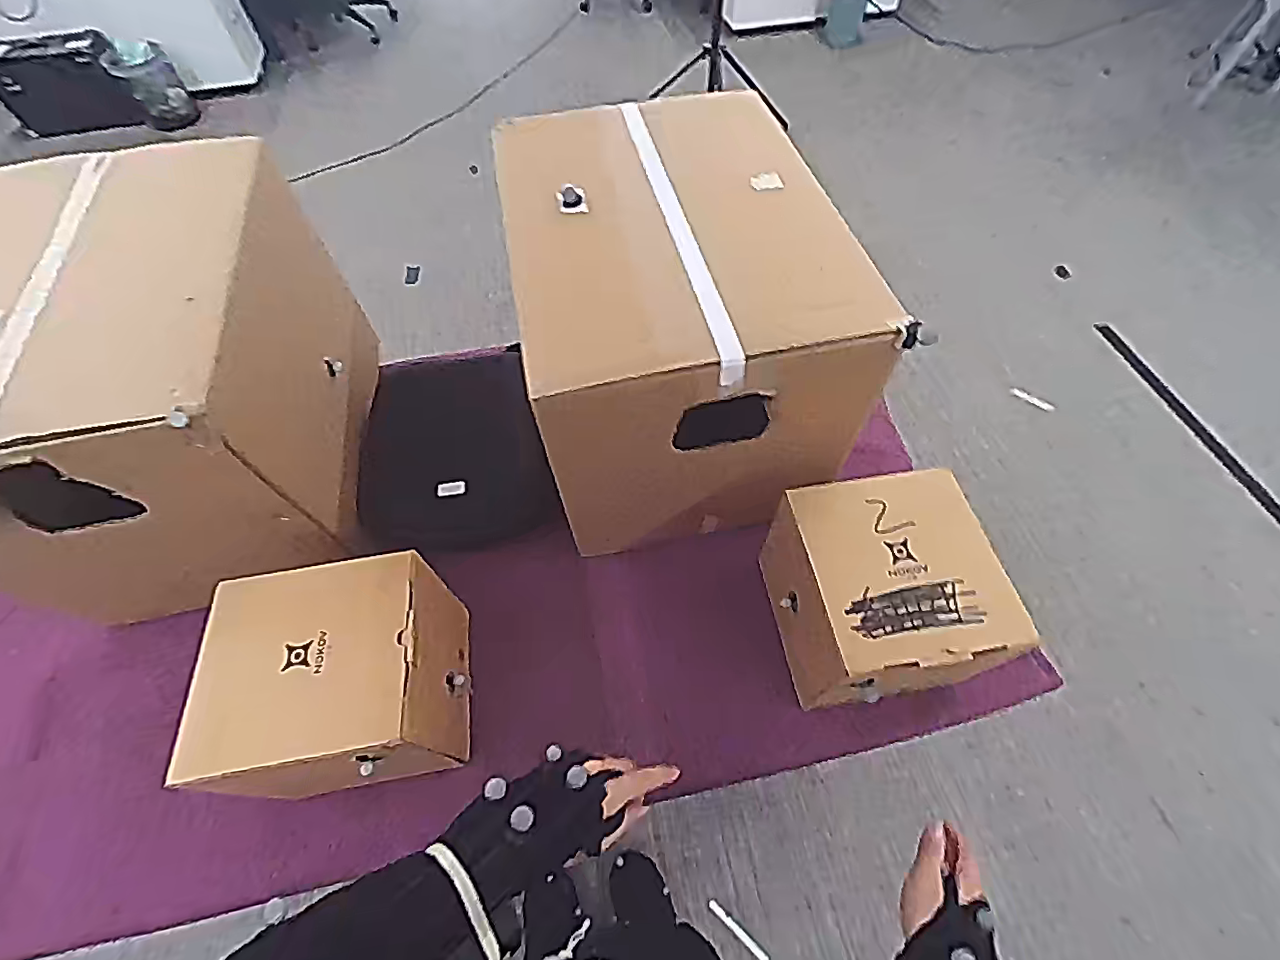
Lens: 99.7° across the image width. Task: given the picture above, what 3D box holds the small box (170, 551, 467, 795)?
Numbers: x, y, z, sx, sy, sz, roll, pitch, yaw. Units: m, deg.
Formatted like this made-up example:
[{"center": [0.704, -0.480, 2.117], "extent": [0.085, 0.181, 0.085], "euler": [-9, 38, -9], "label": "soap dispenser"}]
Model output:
[{"center": [-0.279, 0.190, 0.519], "extent": [0.179, 0.176, 0.168], "euler": [-9, 57, -5], "label": "small box"}]

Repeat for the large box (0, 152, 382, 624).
[{"center": [-0.517, -0.098, 0.623], "extent": [0.320, 0.320, 0.408], "euler": [-13, 61, -6], "label": "large box"}]
